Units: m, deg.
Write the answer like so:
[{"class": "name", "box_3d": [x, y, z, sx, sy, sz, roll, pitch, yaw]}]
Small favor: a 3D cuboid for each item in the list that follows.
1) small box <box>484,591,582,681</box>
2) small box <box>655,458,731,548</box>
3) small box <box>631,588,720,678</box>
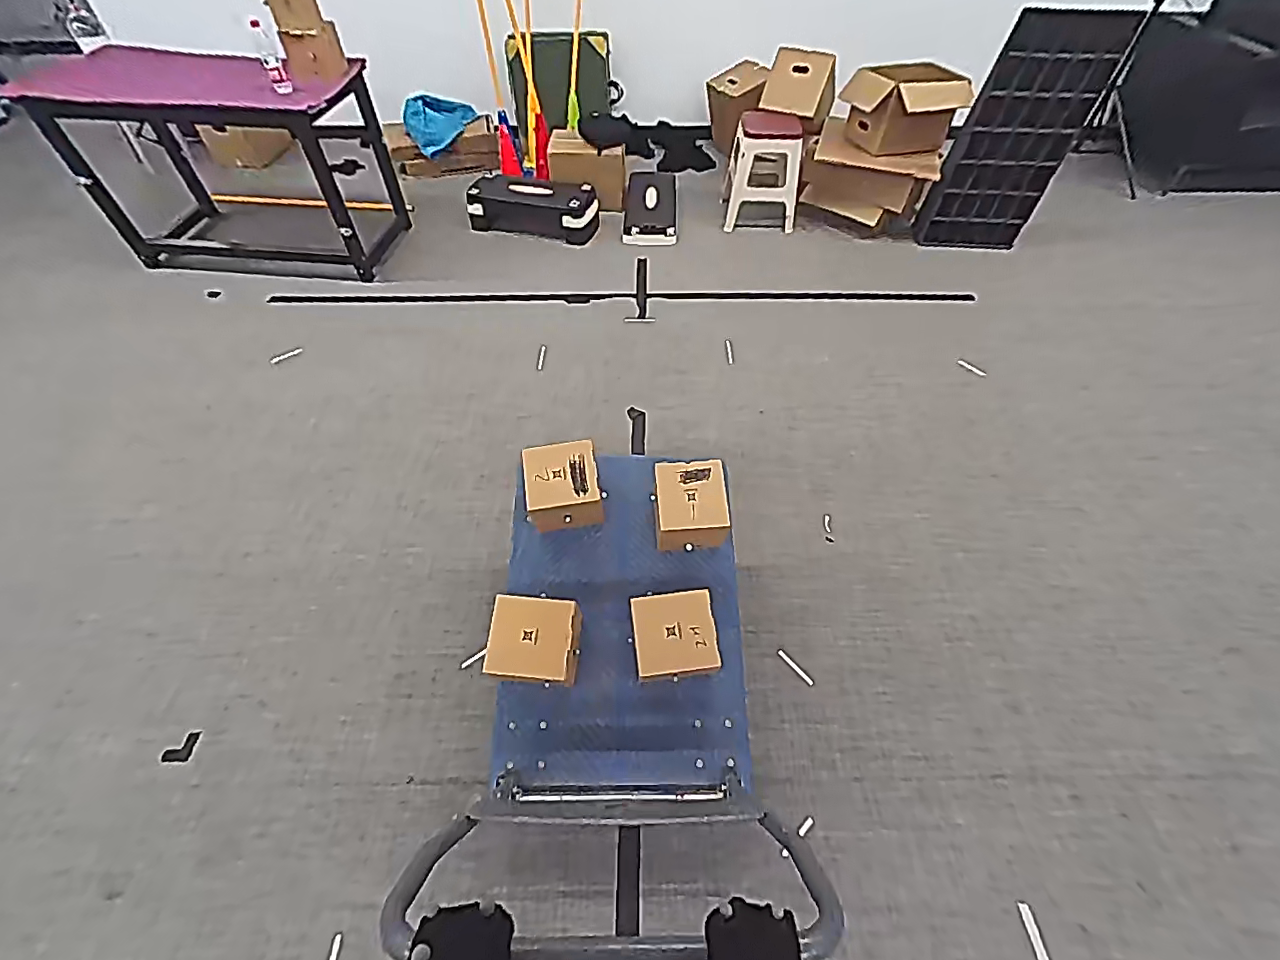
[{"class": "small box", "box_3d": [-0.232, 0.357, 1.222, 0.179, 0.176, 0.168, 5, 66, 0]}, {"class": "small box", "box_3d": [0.126, 0.061, 1.354, 0.168, 0.176, 0.179, -3, 67, -1]}, {"class": "small box", "box_3d": [0.076, 0.351, 1.226, 0.179, 0.176, 0.168, -6, 67, -3]}]
